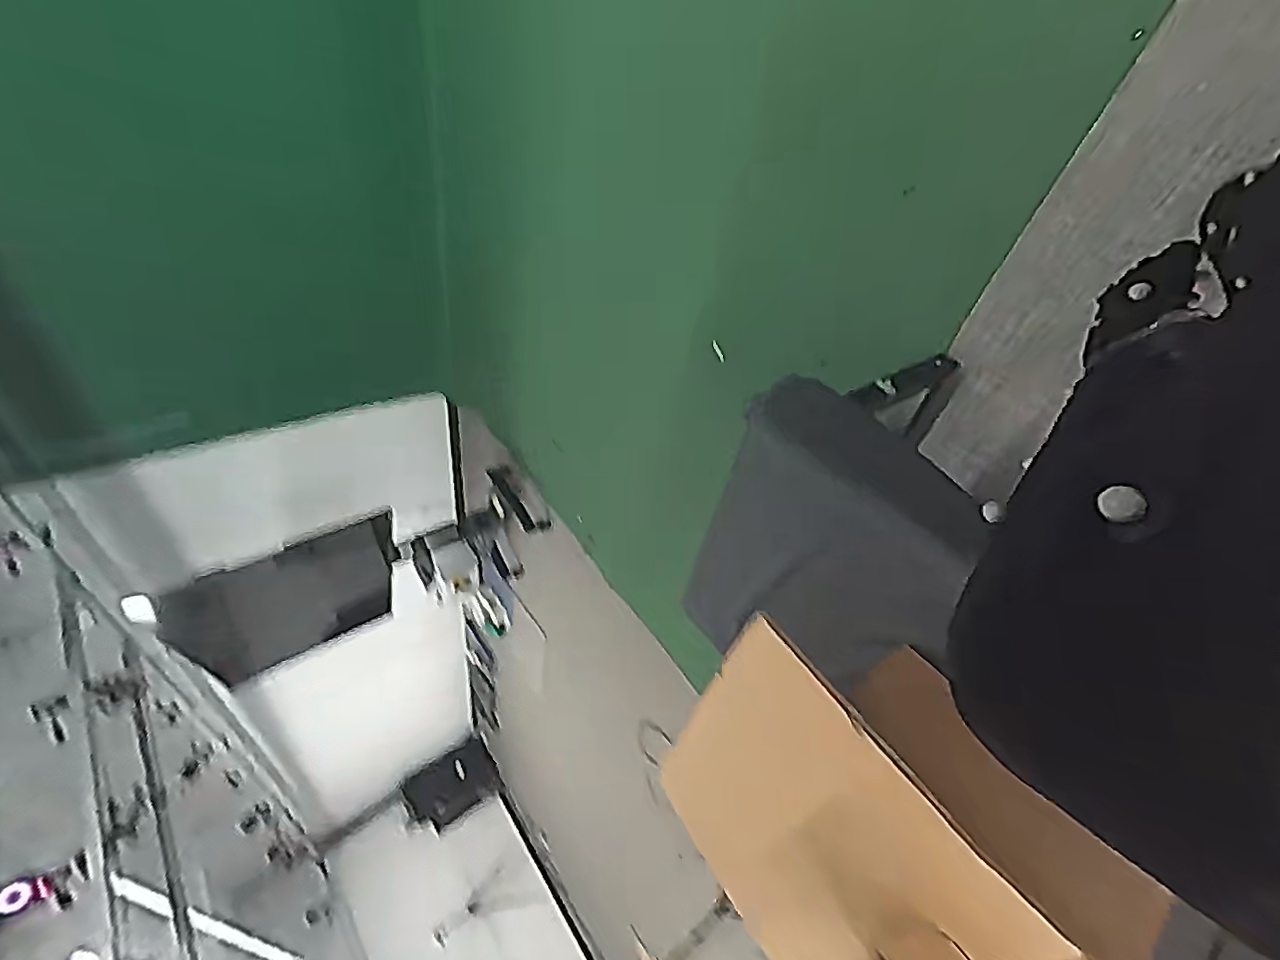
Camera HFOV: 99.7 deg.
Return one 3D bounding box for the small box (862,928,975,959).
[{"bbox_3d":[0.291,0.606,0.546,0.168,0.176,0.179,45,140,30],"label":"small box"}]
